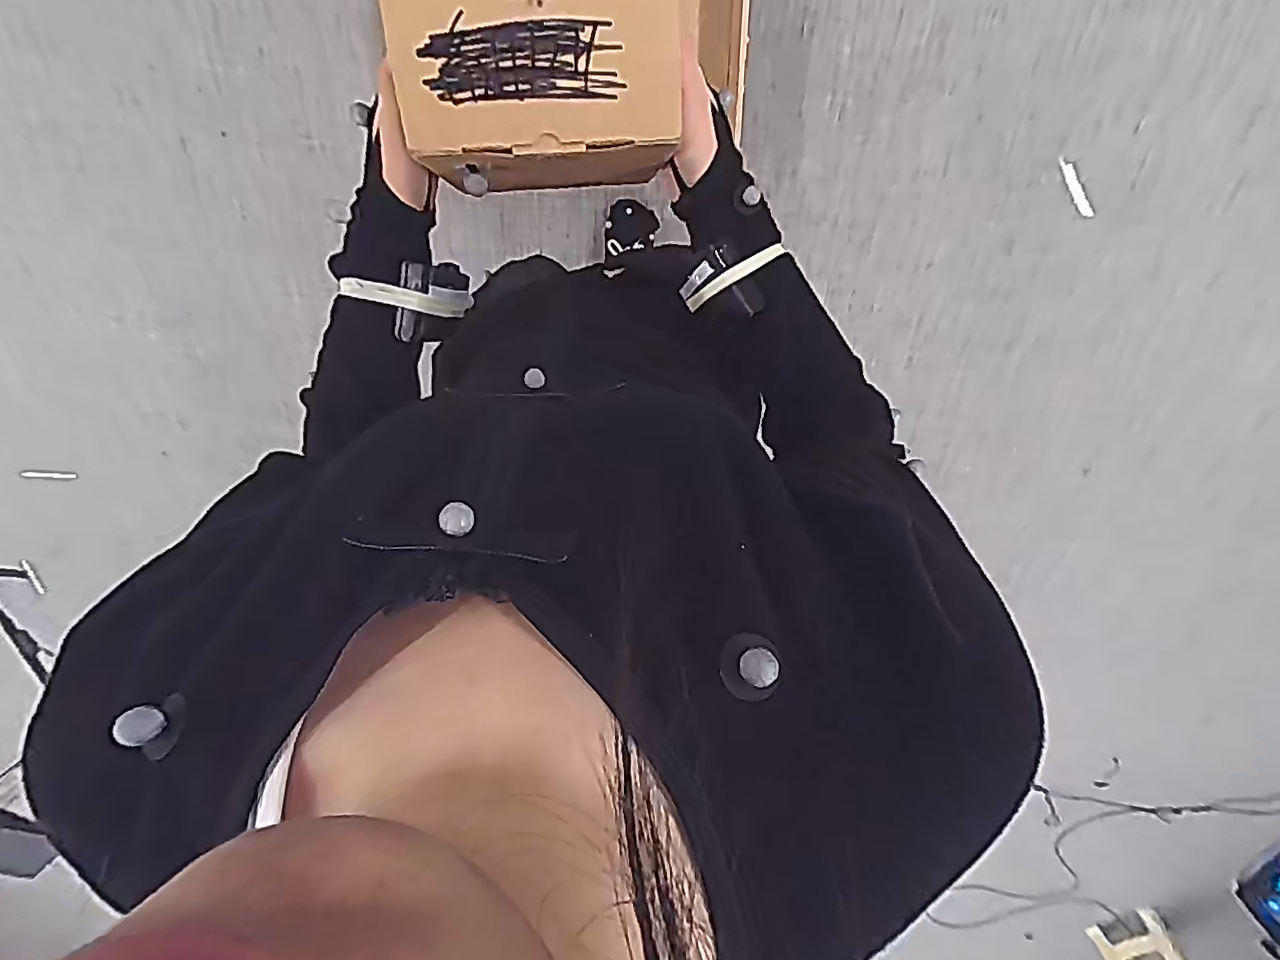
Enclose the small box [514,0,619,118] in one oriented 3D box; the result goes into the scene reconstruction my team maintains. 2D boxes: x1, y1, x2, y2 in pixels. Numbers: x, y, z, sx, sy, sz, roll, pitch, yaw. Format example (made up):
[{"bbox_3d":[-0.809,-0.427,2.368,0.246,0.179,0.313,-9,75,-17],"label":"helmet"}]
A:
[{"bbox_3d":[-0.131,-0.810,1.029,0.168,0.176,0.179,-5,119,3],"label":"small box"}]
